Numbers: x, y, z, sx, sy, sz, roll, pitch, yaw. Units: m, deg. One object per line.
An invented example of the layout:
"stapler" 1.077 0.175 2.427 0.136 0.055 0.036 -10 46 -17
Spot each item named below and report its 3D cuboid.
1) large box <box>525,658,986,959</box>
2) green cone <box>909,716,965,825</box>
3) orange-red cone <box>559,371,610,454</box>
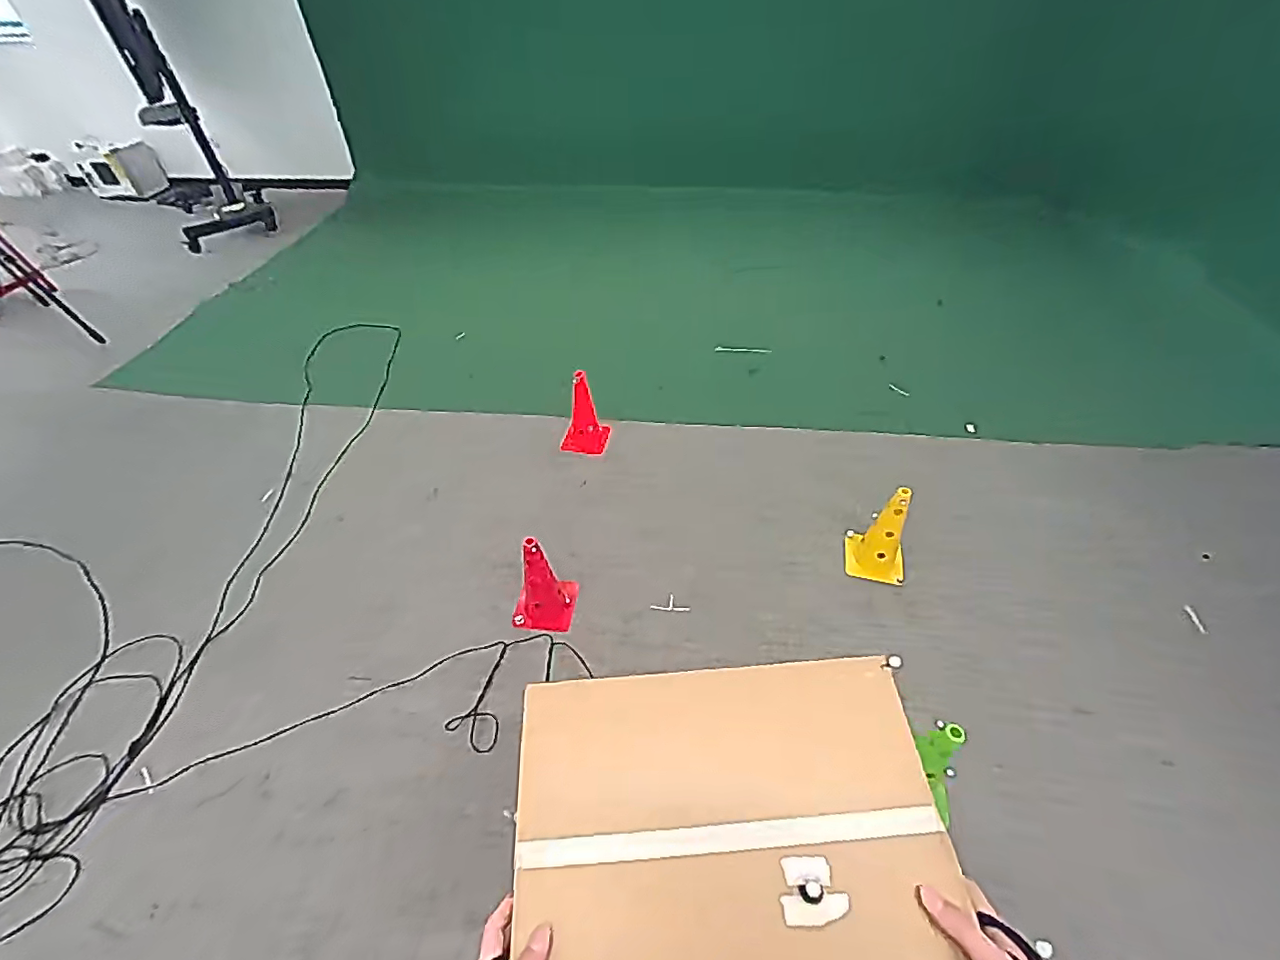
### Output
"large box" 0.094 0.432 0.639 0.408 0.320 0.320 -5 55 -1
"green cone" 0.724 0.689 1.352 0.200 0.368 0.202 8 45 8
"orange-red cone" -0.258 -0.313 2.351 0.199 0.360 0.198 8 46 11
